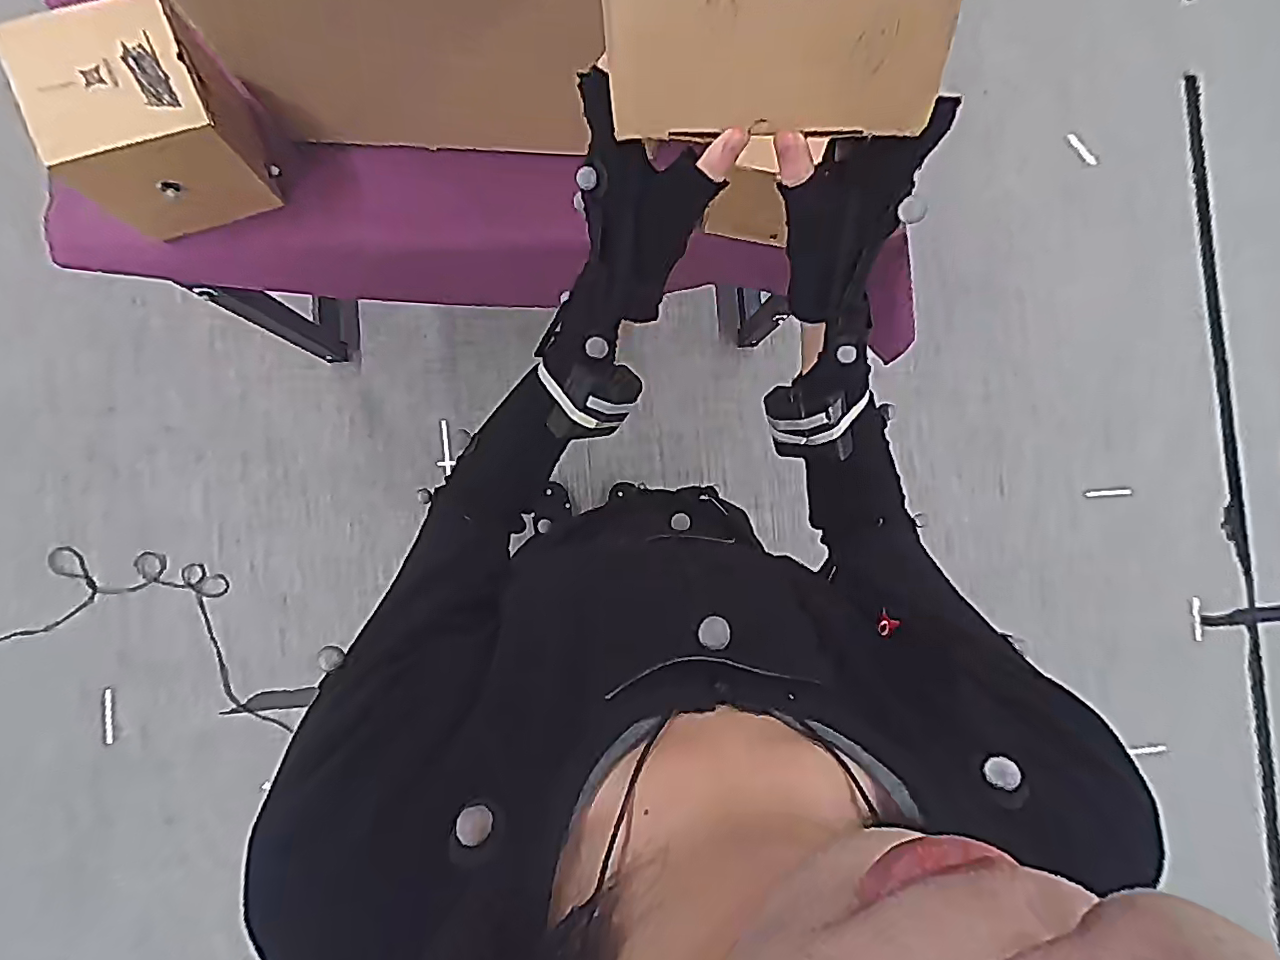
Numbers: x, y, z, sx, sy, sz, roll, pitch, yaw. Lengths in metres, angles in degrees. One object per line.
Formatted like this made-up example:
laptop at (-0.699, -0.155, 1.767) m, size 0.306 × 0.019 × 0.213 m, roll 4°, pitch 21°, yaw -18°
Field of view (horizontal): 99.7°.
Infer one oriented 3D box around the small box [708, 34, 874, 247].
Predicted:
small box at (0.198, -0.455, 0.754) m, size 0.168 × 0.176 × 0.179 m, roll 8°, pitch 86°, yaw -6°
